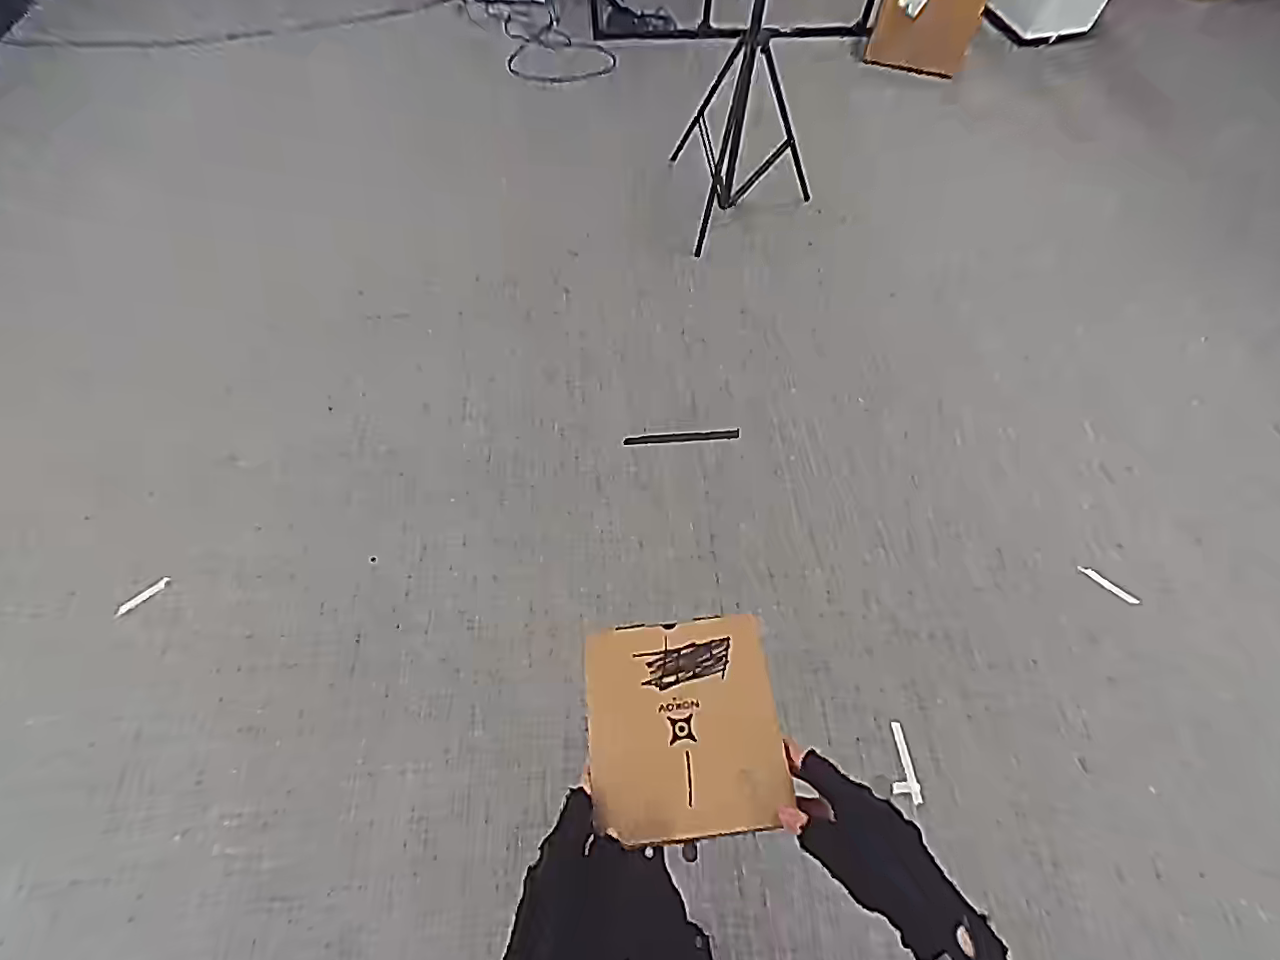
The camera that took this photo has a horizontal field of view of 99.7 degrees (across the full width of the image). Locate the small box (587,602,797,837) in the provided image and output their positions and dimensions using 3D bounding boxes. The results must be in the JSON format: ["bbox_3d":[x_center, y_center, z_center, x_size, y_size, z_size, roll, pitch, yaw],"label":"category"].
[{"bbox_3d":[0.041,0.240,0.534,0.168,0.176,0.179,-7,56,0],"label":"small box"}]
